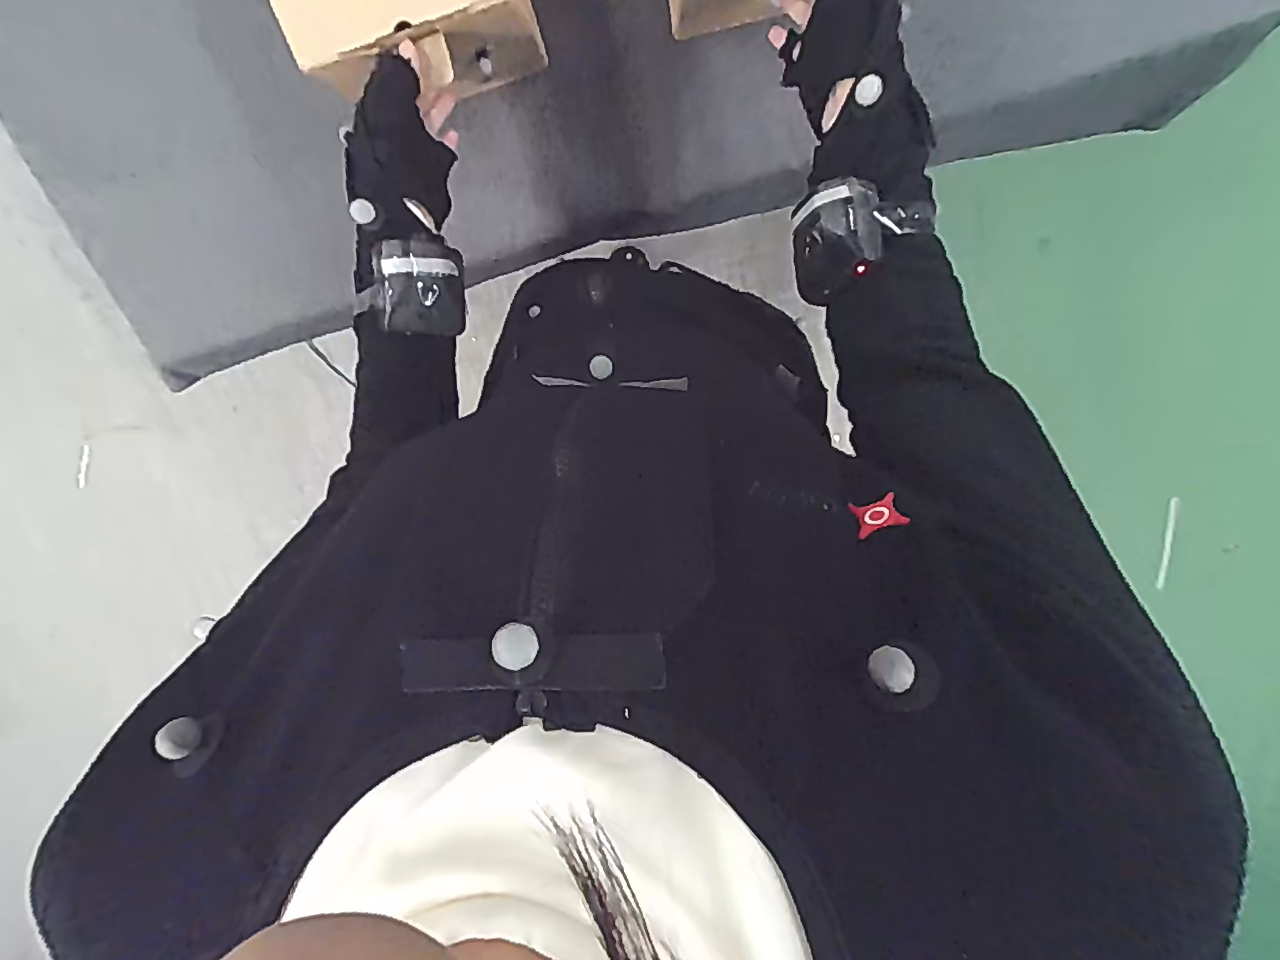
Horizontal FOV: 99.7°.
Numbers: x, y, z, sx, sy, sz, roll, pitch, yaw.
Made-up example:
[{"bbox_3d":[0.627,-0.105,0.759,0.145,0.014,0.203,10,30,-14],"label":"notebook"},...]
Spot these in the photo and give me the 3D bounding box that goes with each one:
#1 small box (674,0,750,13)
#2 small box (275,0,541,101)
[{"bbox_3d":[0.094,-0.484,0.396,0.168,0.176,0.179,-10,114,4],"label":"small box"},{"bbox_3d":[-0.189,-0.428,0.423,0.168,0.176,0.179,-15,112,5],"label":"small box"}]
